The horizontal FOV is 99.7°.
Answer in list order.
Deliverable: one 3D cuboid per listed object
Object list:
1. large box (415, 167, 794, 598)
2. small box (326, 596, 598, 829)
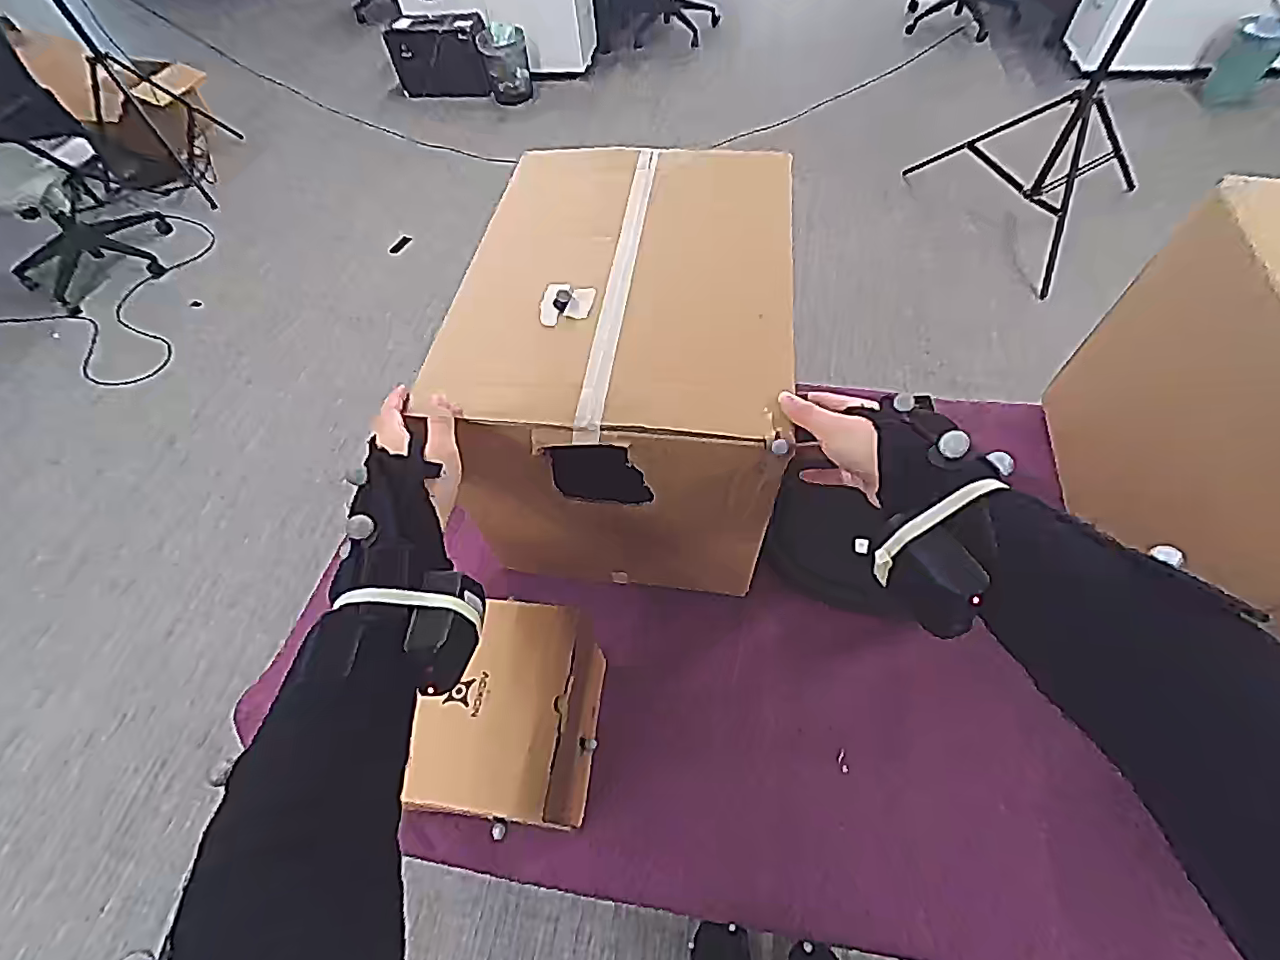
[{"bbox_3d":[-0.004,-0.112,0.651,0.320,0.320,0.408,4,59,8],"label":"large box"},{"bbox_3d":[-0.145,0.226,0.516,0.179,0.176,0.168,4,55,5],"label":"small box"}]
